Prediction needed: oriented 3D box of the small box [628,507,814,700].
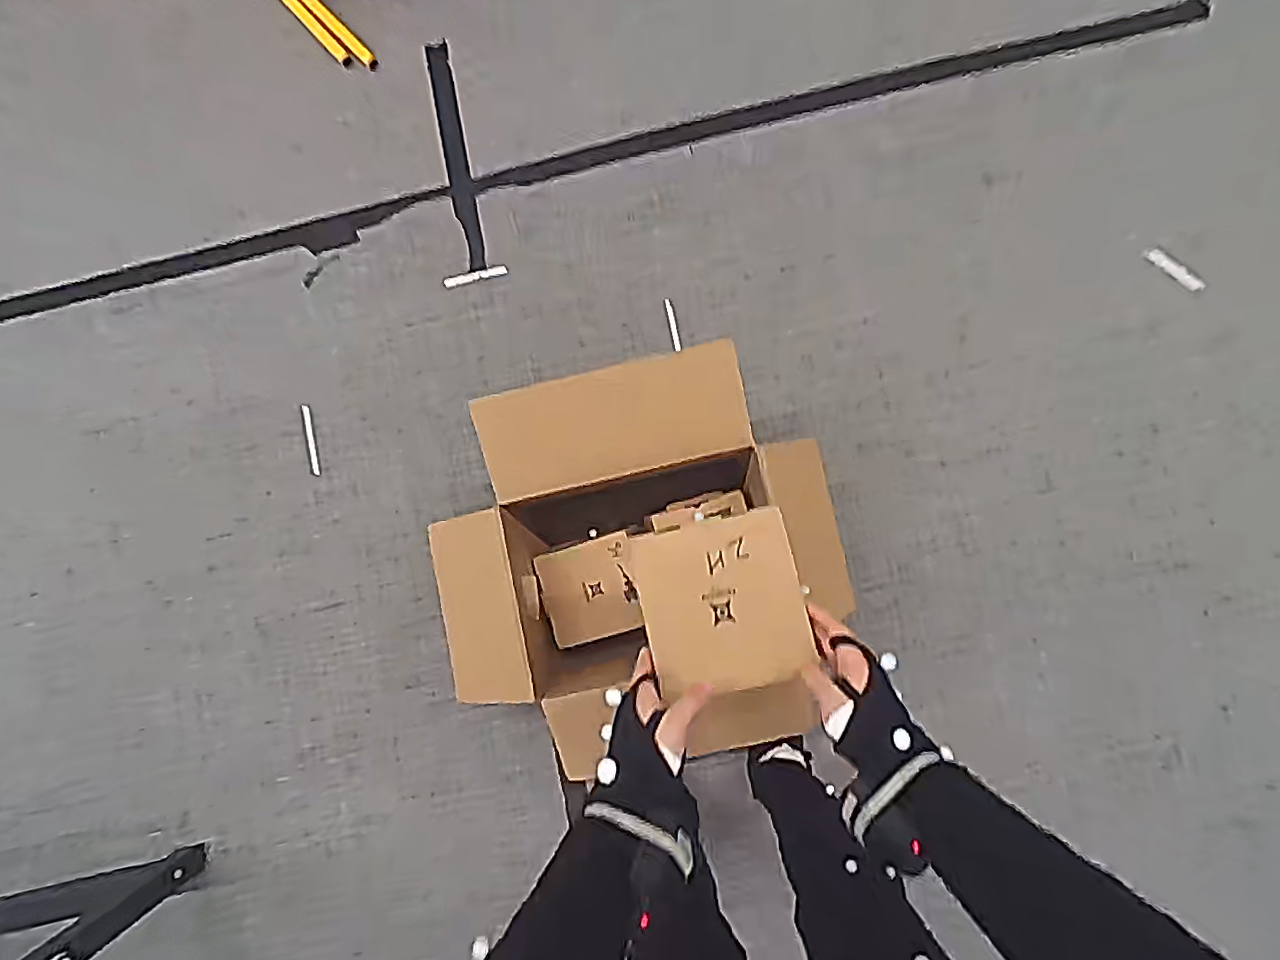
[{"bbox_3d":[0.091,0.135,0.641,0.168,0.176,0.179,-13,82,4],"label":"small box"}]
